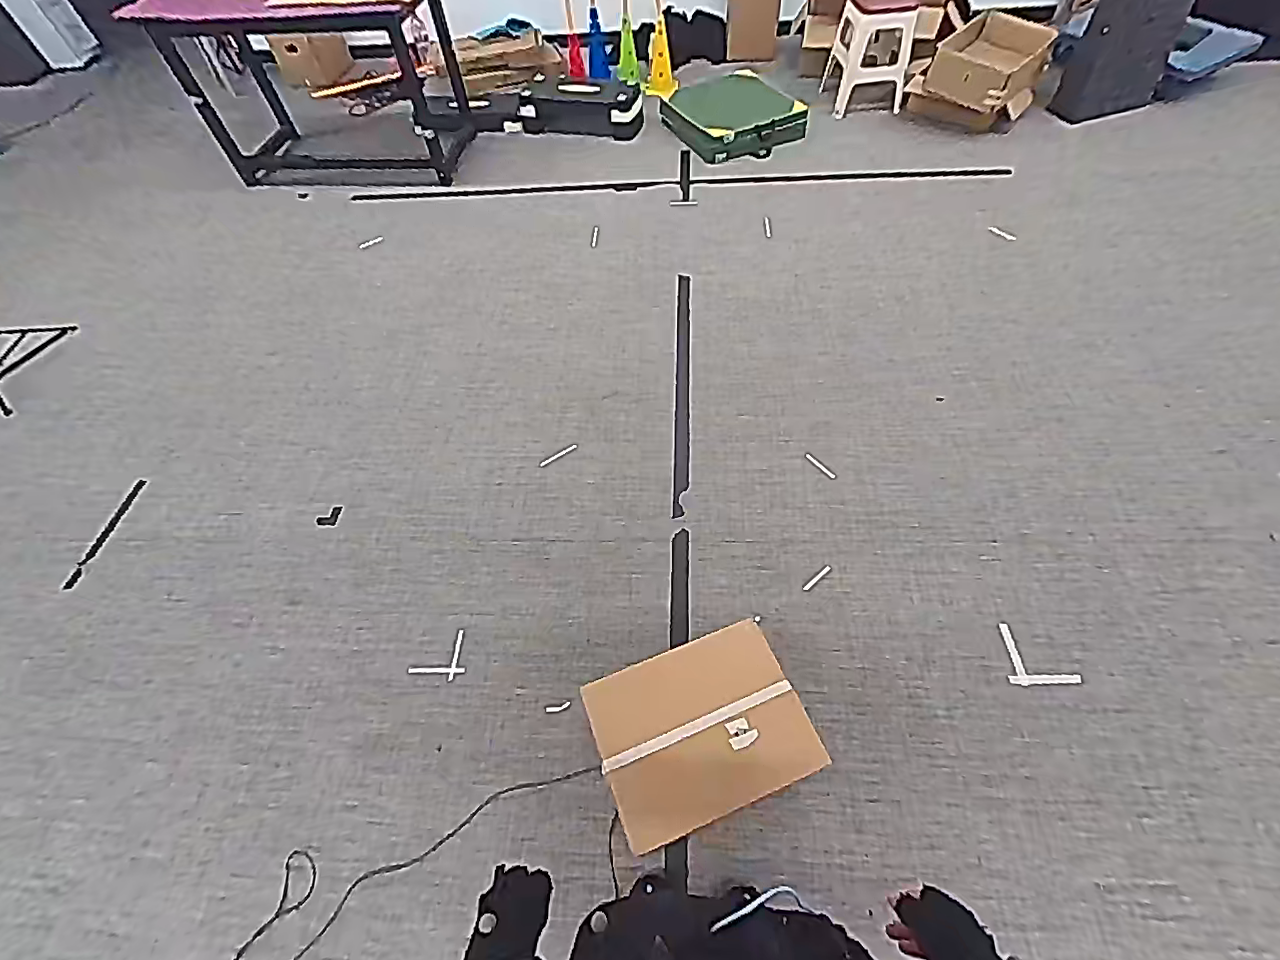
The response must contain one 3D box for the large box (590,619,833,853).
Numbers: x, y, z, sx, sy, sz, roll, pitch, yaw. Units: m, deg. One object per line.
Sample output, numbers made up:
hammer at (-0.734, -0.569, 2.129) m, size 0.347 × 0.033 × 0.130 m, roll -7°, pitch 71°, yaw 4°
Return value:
large box at (0.137, 0.568, 1.194) m, size 0.408 × 0.320 × 0.320 m, roll -18°, pitch 57°, yaw -10°
